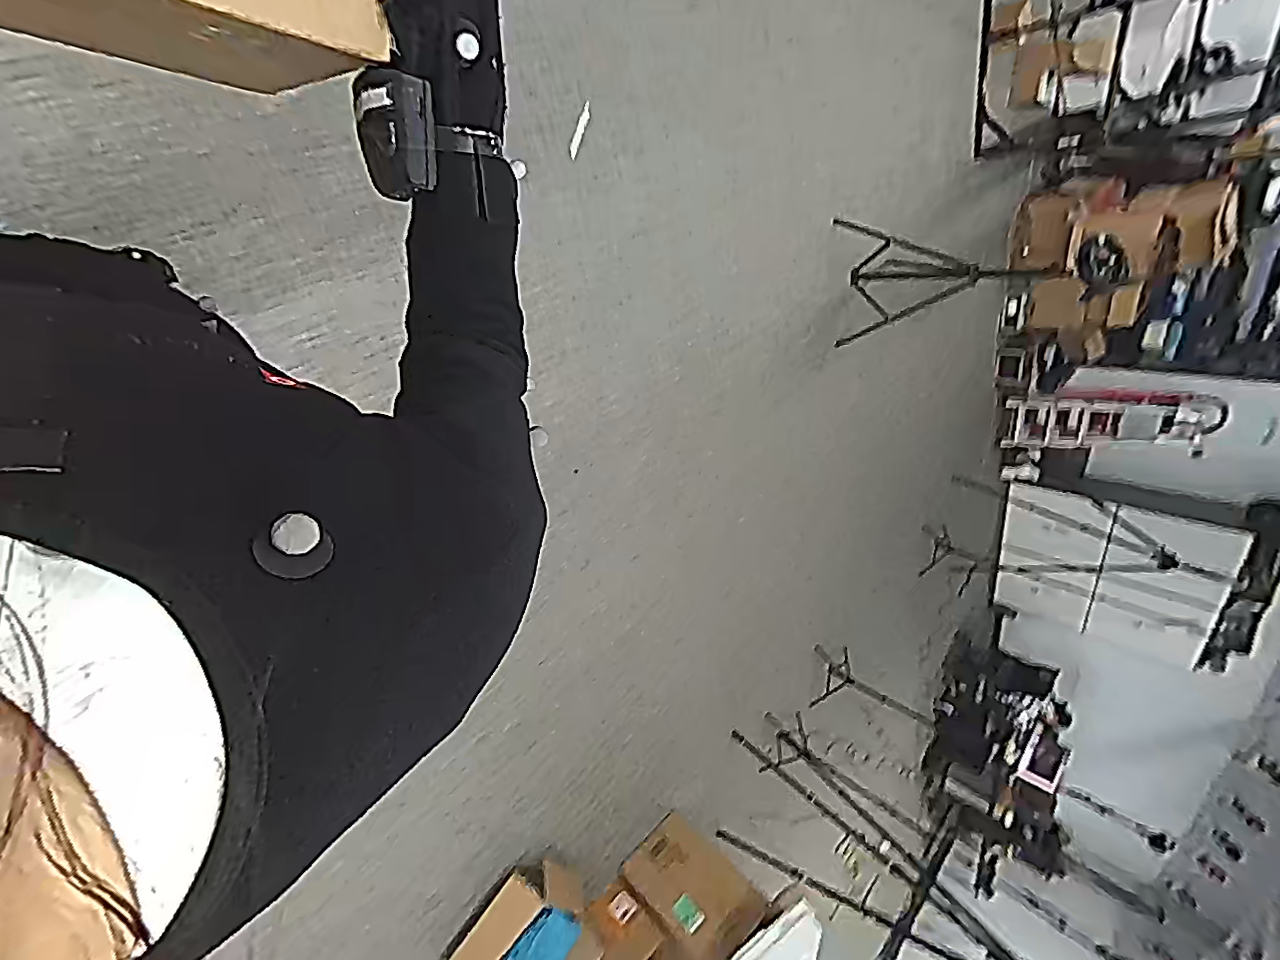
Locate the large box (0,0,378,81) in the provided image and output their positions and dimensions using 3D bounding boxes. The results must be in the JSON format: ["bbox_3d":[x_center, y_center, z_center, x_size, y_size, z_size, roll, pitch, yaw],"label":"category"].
[{"bbox_3d":[-0.383,-0.412,0.225,0.408,0.320,0.320,-15,124,-41],"label":"large box"}]
